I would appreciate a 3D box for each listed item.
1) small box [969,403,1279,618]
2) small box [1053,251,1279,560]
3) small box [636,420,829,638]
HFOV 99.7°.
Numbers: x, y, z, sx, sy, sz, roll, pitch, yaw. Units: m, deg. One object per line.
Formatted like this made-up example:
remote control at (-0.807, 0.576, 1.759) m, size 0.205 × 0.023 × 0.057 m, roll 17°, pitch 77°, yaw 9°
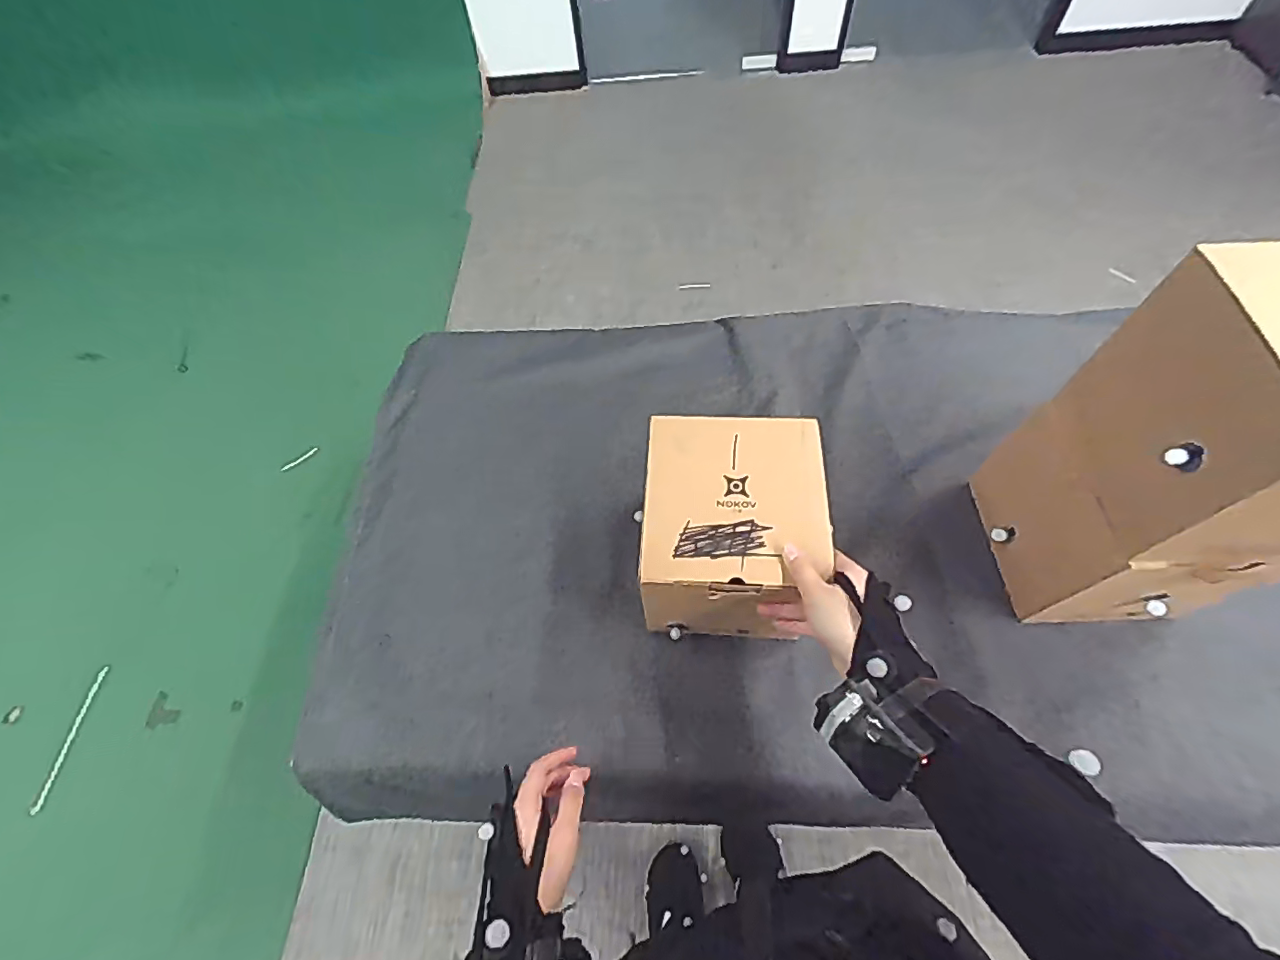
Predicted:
small box at (0.474, 0.037, 0.547) m, size 0.168 × 0.176 × 0.179 m, roll -3°, pitch 60°, yaw 3°
small box at (0.467, -0.046, 0.407) m, size 0.168 × 0.176 × 0.179 m, roll 0°, pitch 59°, yaw 4°
small box at (0.090, 0.057, 0.565) m, size 0.168 × 0.176 × 0.179 m, roll 2°, pitch 59°, yaw 5°
